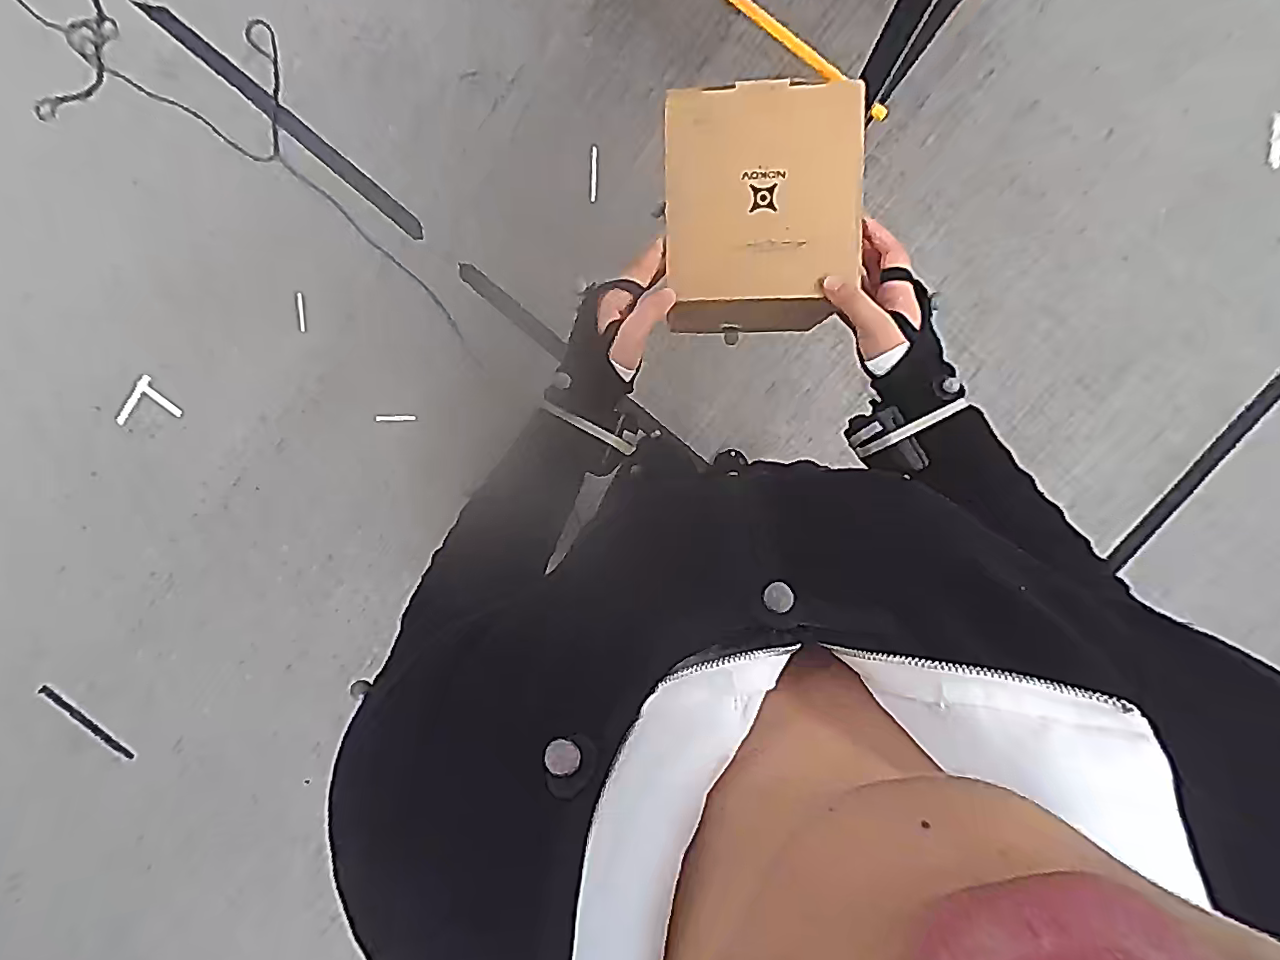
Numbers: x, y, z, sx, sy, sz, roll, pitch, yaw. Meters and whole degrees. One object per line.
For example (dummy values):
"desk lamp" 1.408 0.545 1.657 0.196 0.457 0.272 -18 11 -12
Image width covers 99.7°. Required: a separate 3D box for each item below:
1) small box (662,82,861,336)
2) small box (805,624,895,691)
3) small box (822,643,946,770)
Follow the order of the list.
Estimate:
"small box" 0.105 -0.247 0.534 0.168 0.176 0.179 -1 95 3
"small box" 0.563 0.503 1.422 0.179 0.176 0.168 41 97 1
"small box" 0.554 0.515 1.257 0.168 0.176 0.179 39 98 0
